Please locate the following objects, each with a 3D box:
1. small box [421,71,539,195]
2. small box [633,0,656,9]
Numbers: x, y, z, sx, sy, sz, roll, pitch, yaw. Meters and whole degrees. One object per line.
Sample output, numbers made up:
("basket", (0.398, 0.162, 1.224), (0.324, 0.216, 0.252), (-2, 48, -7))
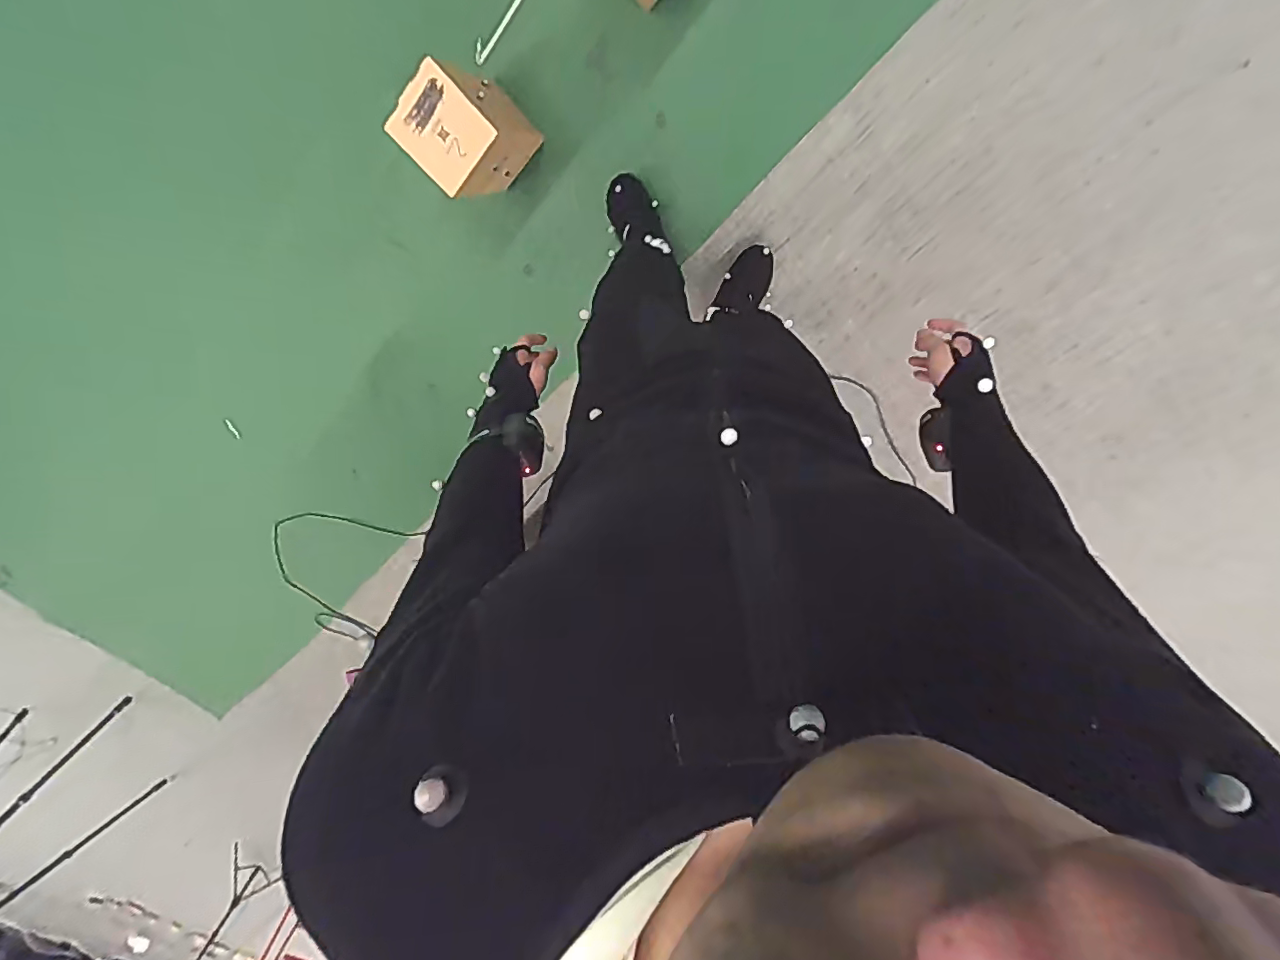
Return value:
("small box", (-0.363, -0.801, 1.261), (0.168, 0.176, 0.179), (-39, 108, 25))
("small box", (-0.001, -1.080, 1.052), (0.168, 0.176, 0.179), (-37, 109, 24))
